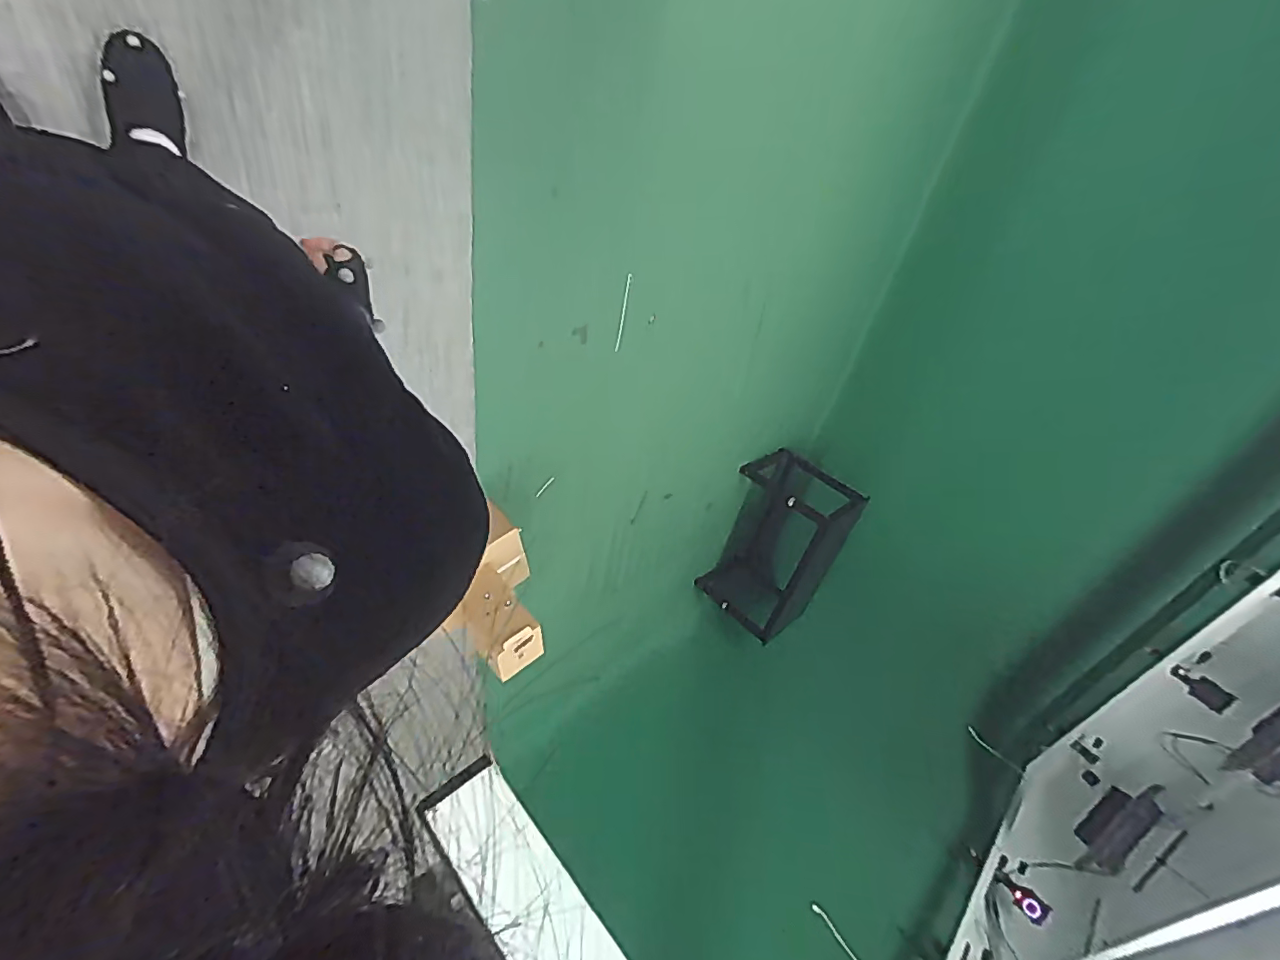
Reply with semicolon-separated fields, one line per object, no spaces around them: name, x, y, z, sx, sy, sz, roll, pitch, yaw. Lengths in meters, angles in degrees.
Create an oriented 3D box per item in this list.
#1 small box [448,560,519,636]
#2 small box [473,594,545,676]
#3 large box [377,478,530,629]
small box;-0.539;0.413;1.890;0.179;0.176;0.168;-31;143;-30
small box;-0.437;0.508;1.804;0.168;0.176;0.179;-30;143;-31
large box;-0.684;0.267;2.026;0.408;0.320;0.320;-35;147;-28
